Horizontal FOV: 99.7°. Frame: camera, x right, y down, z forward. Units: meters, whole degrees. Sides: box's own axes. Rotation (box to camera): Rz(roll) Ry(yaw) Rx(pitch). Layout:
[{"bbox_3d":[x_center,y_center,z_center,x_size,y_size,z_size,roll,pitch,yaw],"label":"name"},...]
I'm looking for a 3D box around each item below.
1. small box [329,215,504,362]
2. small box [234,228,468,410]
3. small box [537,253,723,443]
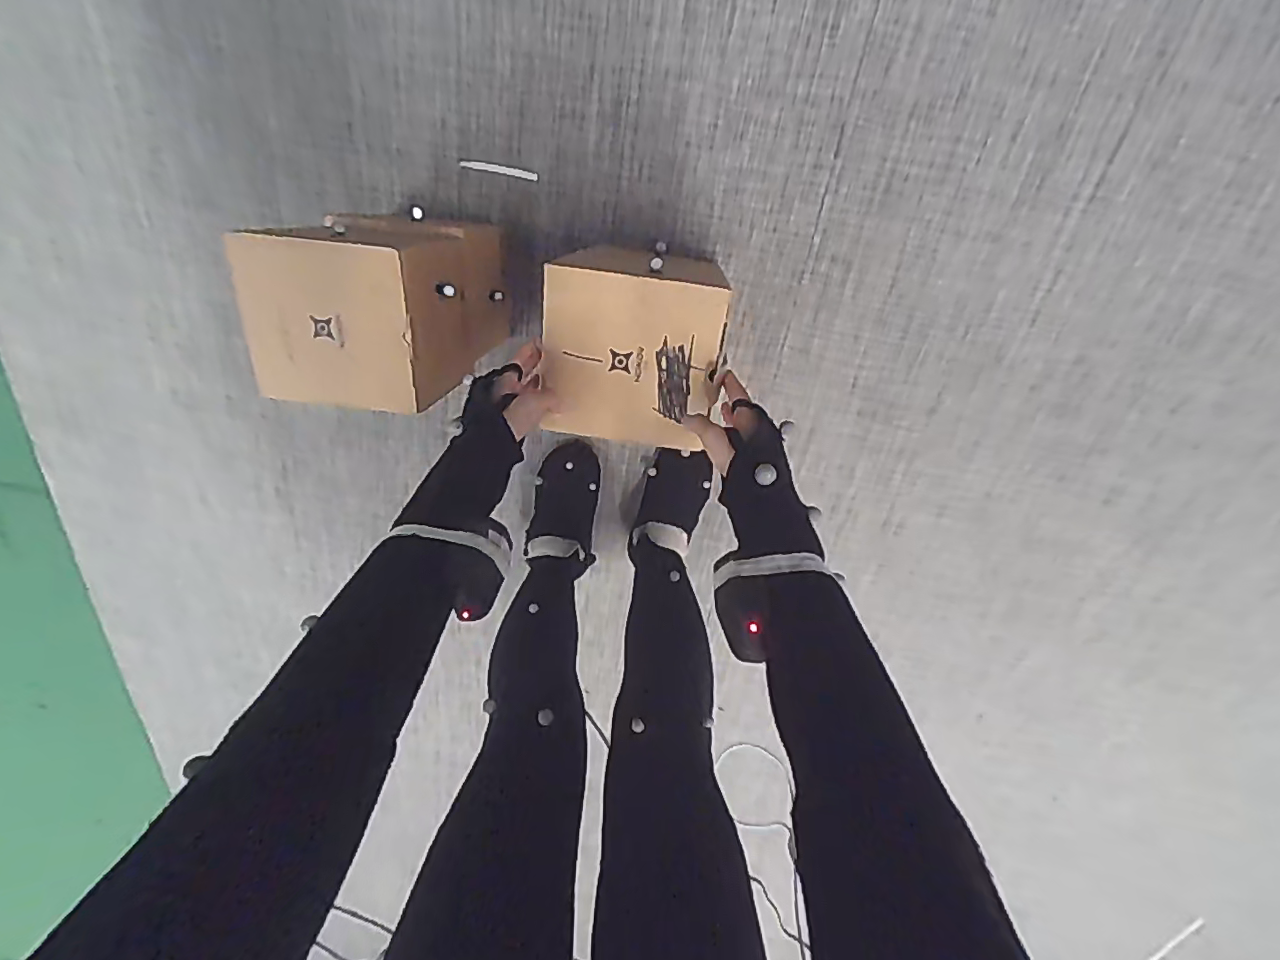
[{"bbox_3d":[-0.298,-0.277,0.769,0.179,0.176,0.168,7,117,2],"label":"small box"},{"bbox_3d":[-0.310,-0.194,0.628,0.179,0.176,0.168,7,117,2],"label":"small box"},{"bbox_3d":[-0.009,-0.158,0.618,0.179,0.176,0.168,9,117,2],"label":"small box"}]
